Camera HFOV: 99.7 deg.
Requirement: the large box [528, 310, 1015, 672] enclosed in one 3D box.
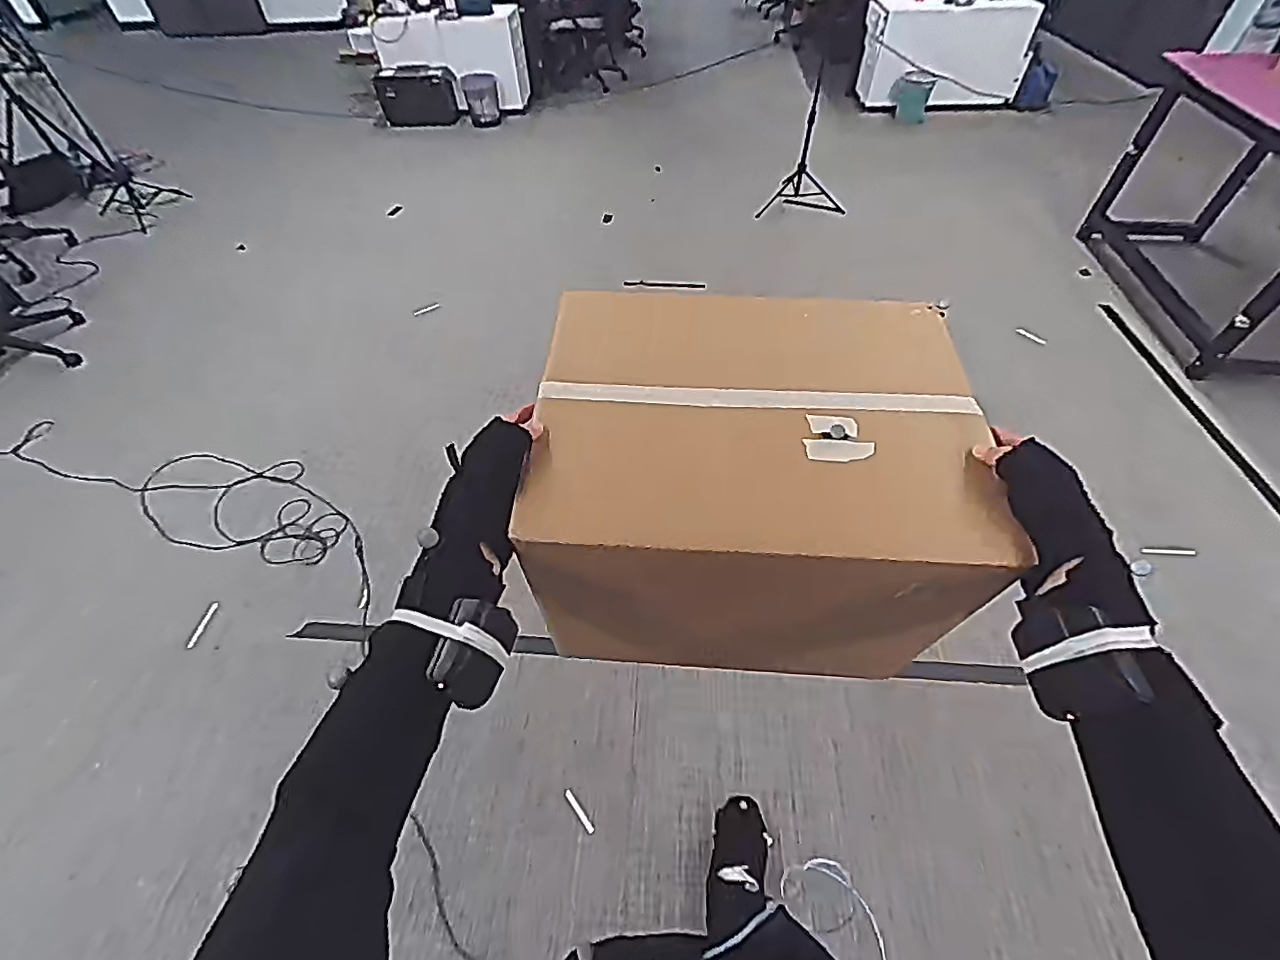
[{"bbox_3d":[0.110,0.023,0.643,0.408,0.320,0.320,3,56,2],"label":"large box"}]
